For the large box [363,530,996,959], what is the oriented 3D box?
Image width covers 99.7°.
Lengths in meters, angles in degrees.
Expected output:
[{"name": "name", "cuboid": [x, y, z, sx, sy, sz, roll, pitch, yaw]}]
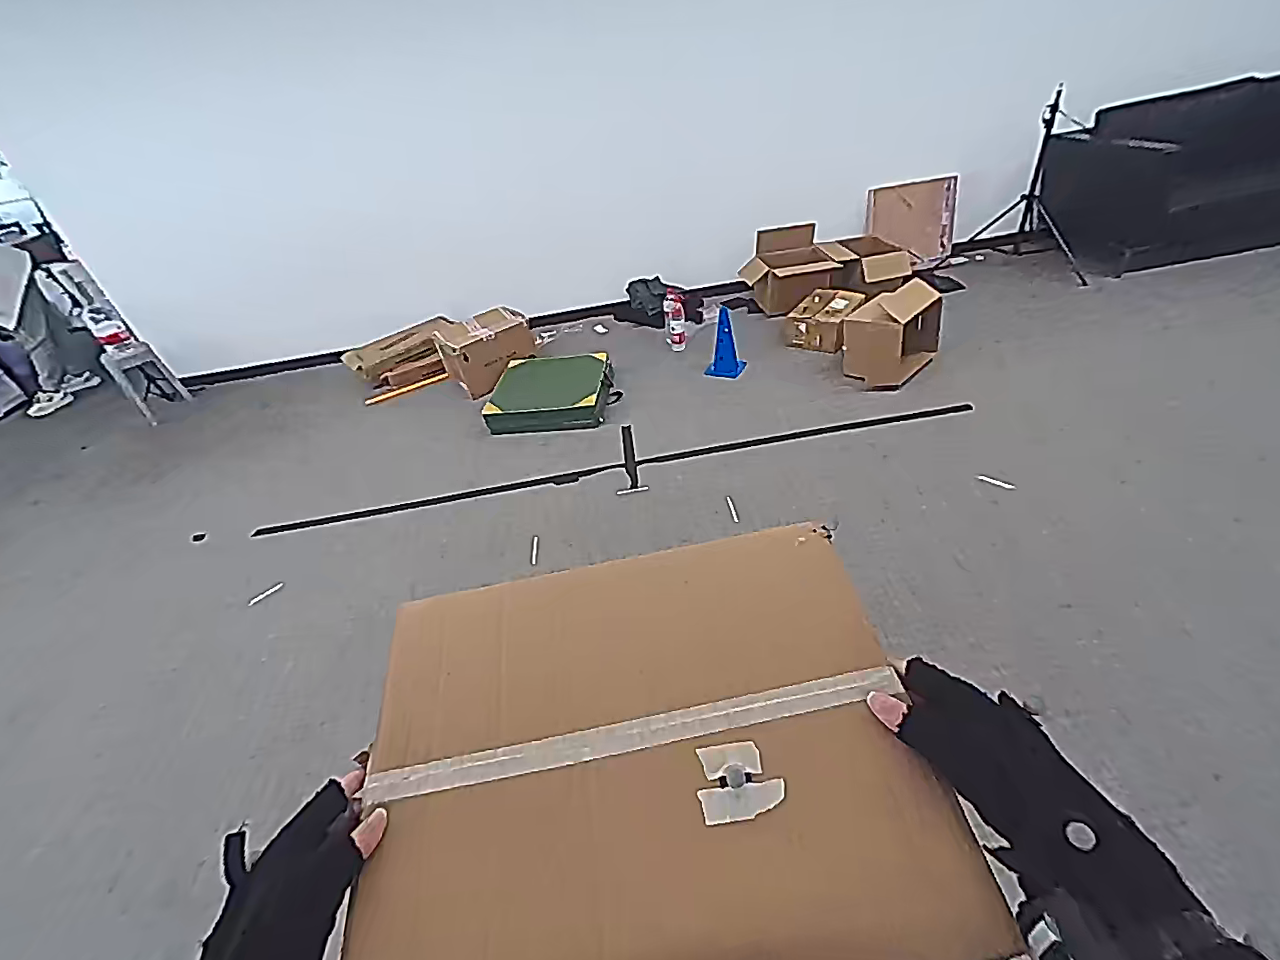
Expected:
[{"name": "large box", "cuboid": [0.016, 0.296, 0.528, 0.408, 0.320, 0.320, -11, 48, -1]}]
